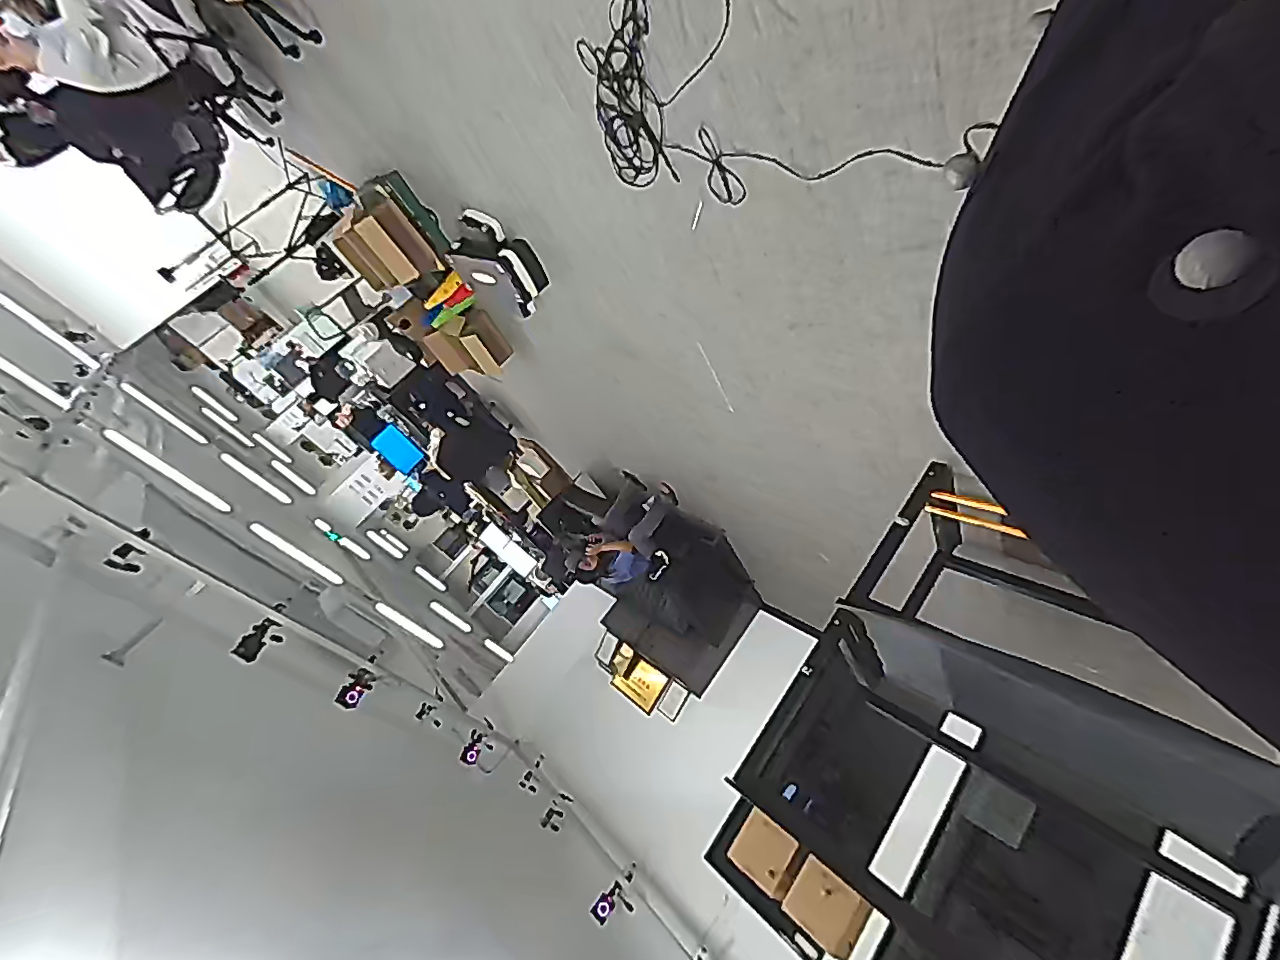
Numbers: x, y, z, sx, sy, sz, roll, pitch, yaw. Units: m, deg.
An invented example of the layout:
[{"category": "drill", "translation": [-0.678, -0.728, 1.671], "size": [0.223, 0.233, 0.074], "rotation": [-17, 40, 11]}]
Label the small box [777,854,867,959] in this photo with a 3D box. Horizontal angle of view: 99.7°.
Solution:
[{"category": "small box", "translation": [0.530, 1.227, 1.557], "size": [0.168, 0.176, 0.179], "rotation": [20, 154, 47]}]
